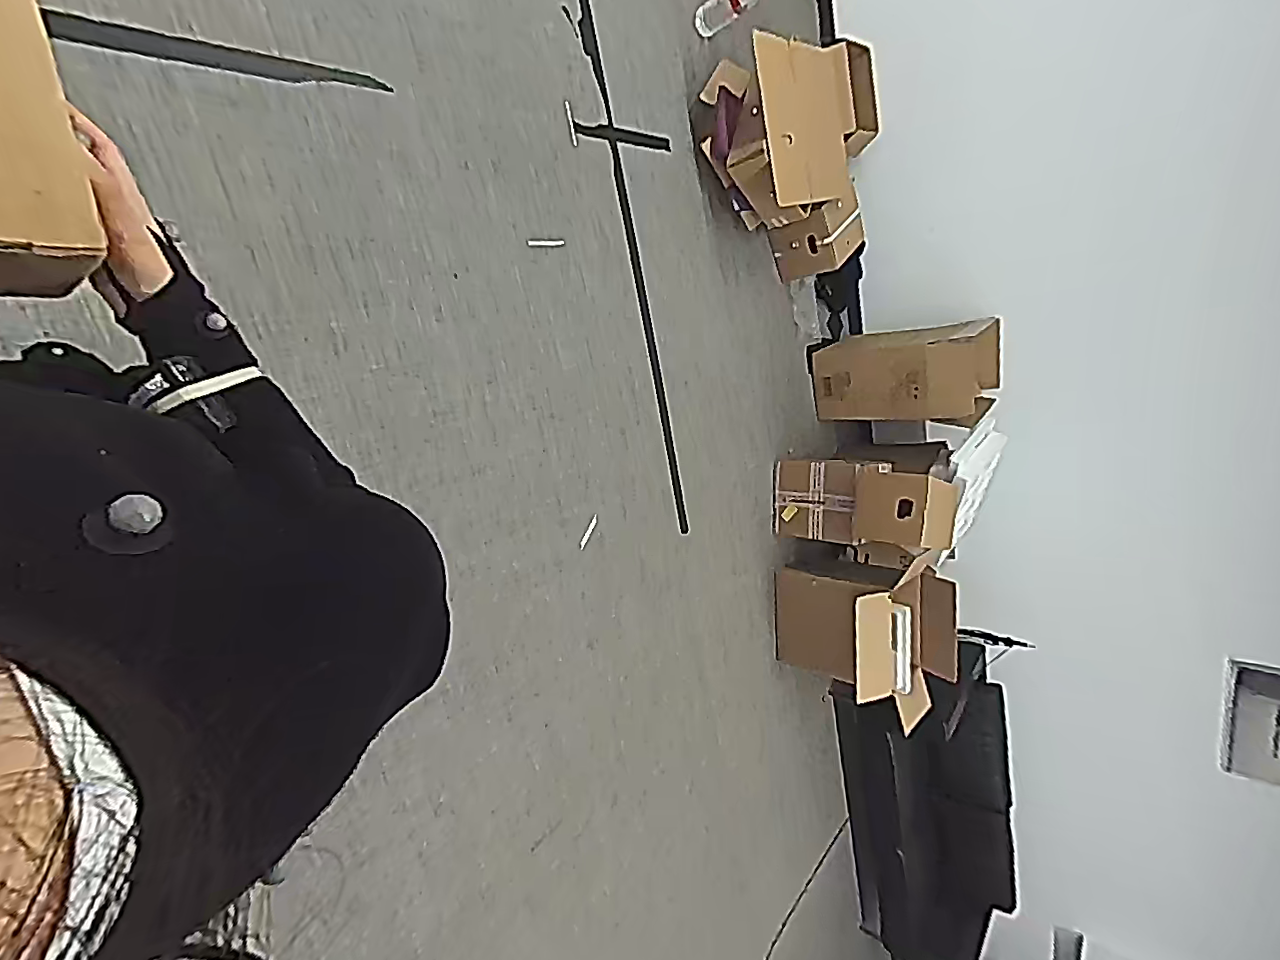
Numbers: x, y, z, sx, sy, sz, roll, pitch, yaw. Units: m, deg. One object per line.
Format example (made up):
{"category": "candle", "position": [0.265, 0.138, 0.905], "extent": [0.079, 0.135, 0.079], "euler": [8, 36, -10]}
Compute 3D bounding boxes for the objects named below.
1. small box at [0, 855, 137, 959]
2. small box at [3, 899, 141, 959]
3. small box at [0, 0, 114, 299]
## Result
{"category": "small box", "position": [-1.082, 0.866, 1.011], "extent": [0.179, 0.176, 0.168], "euler": [-25, 110, -43]}
{"category": "small box", "position": [-0.959, 0.866, 0.902], "extent": [0.179, 0.176, 0.168], "euler": [-22, 107, -44]}
{"category": "small box", "position": [-0.428, -0.199, 0.288], "extent": [0.168, 0.176, 0.179], "euler": [-21, 109, -51]}
